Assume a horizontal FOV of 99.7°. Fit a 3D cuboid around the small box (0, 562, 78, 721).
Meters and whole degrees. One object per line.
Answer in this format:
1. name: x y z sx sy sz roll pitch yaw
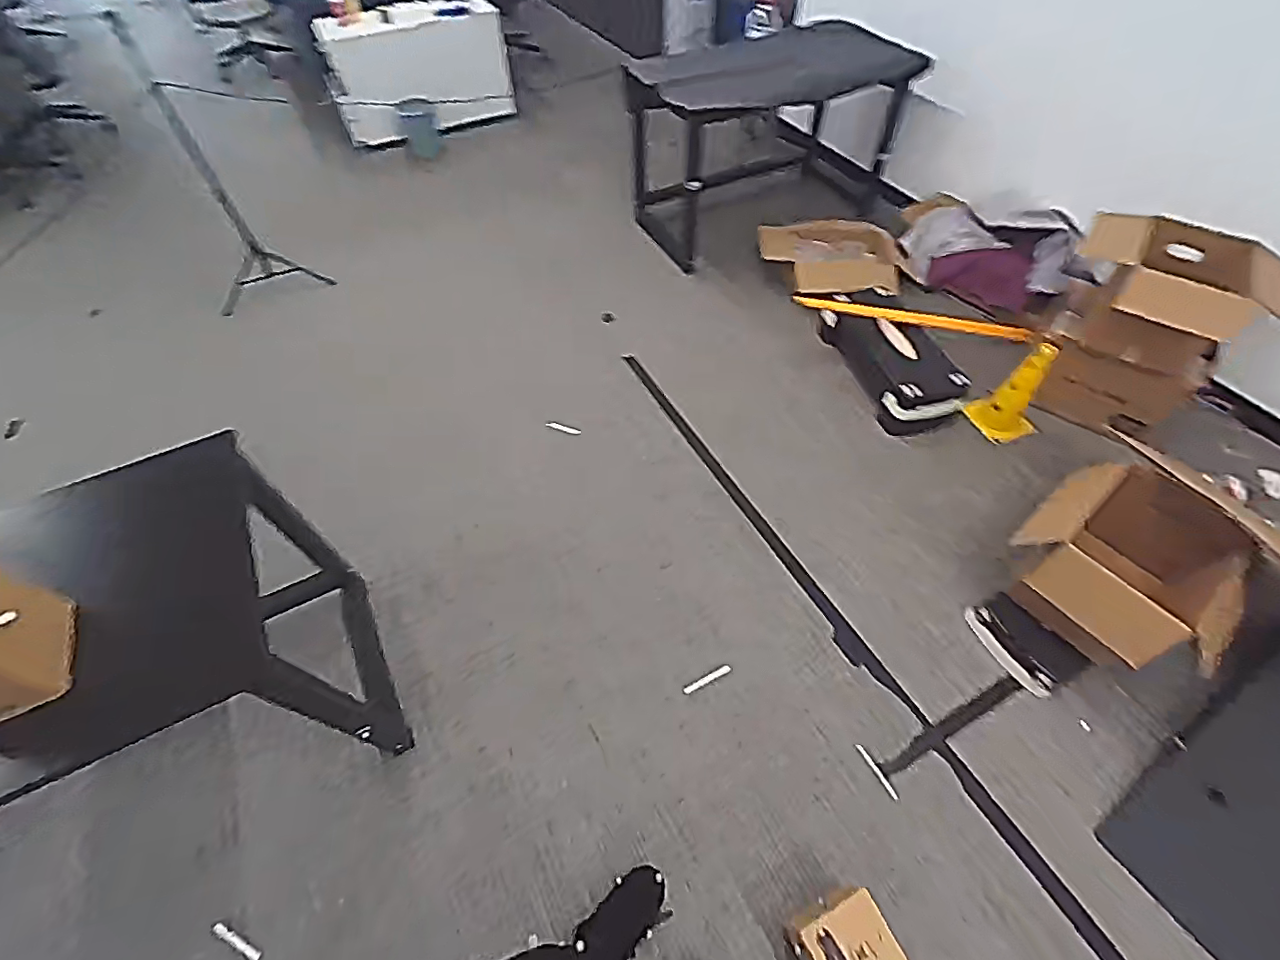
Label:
1. small box: -1.017 0.258 0.820 0.168 0.176 0.179 -24 57 -16
